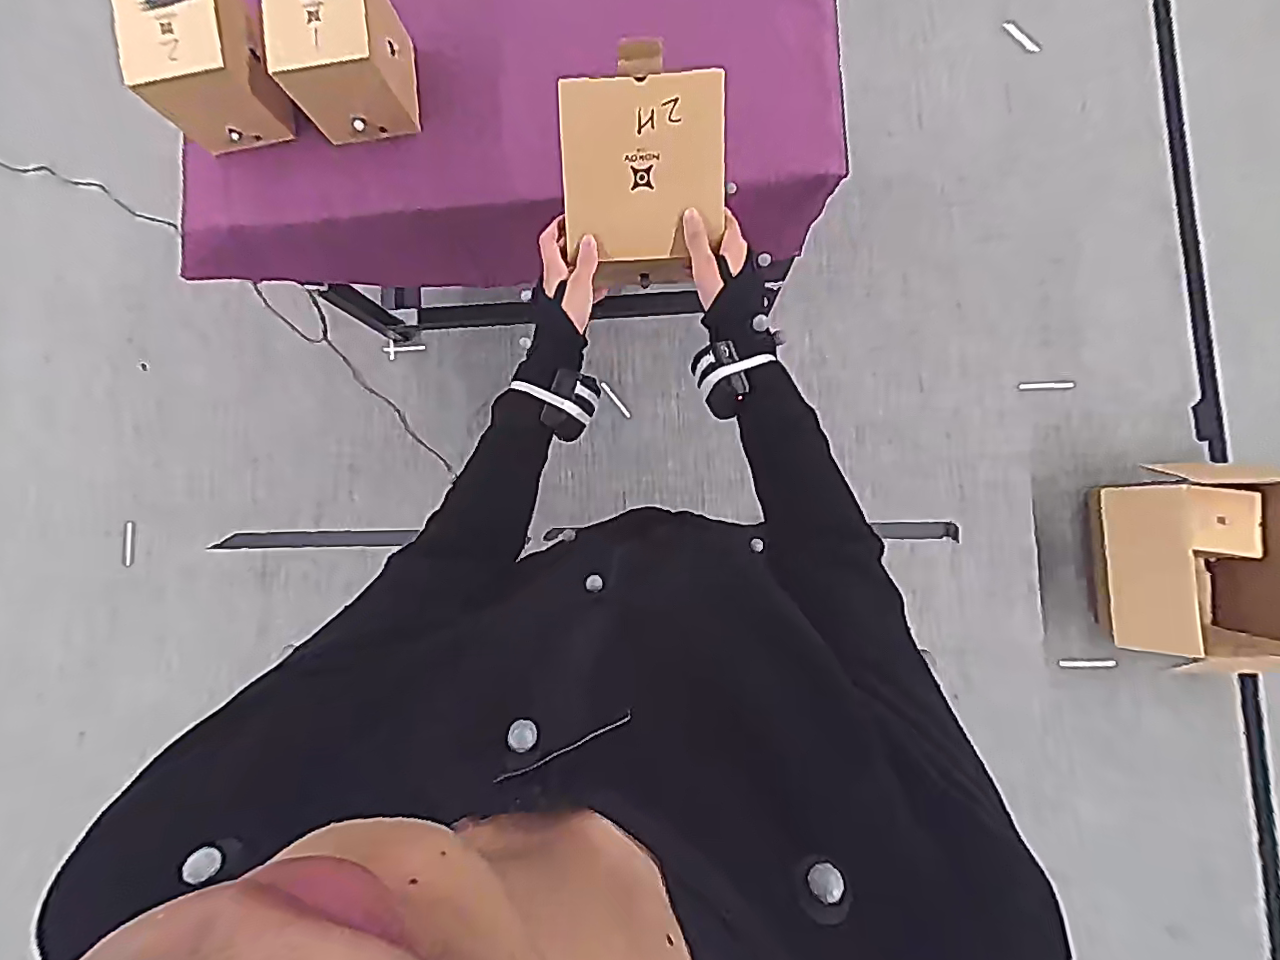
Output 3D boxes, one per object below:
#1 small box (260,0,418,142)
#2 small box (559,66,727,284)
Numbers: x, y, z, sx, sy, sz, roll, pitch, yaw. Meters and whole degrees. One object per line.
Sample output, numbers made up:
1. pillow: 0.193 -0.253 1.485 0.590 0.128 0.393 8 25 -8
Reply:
1. small box: -0.491 -0.709 0.900 0.168 0.176 0.179 -7 87 4
2. small box: 0.010 -0.324 0.614 0.168 0.176 0.179 -1 101 4
